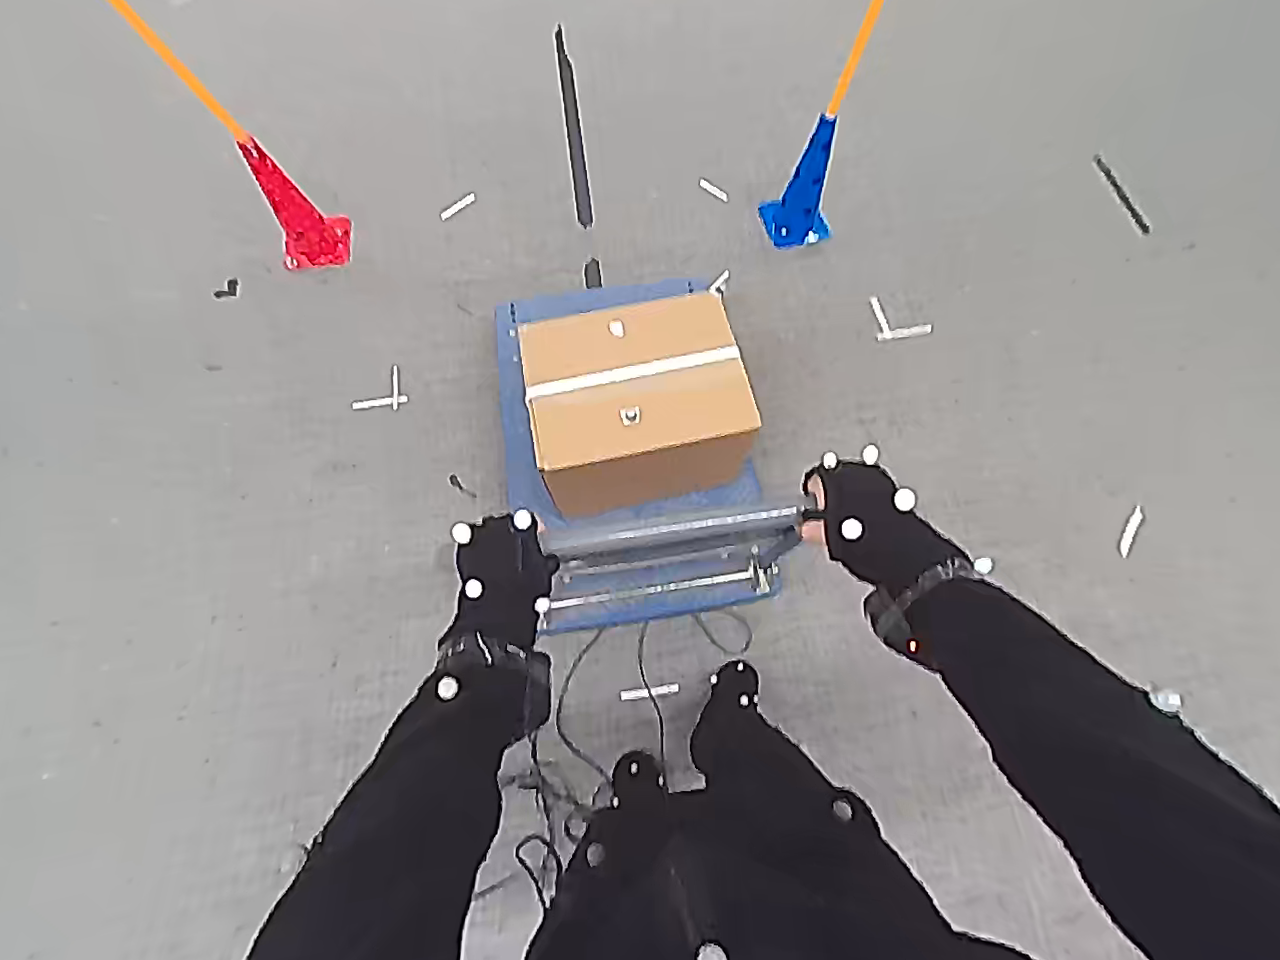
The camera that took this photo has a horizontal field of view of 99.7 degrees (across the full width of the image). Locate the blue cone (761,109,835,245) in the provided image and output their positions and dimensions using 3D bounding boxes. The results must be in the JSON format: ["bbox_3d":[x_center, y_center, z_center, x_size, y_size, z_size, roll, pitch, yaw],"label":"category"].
[{"bbox_3d":[0.514,-0.917,1.637,0.193,0.380,0.192,-11,68,-6],"label":"blue cone"}]
